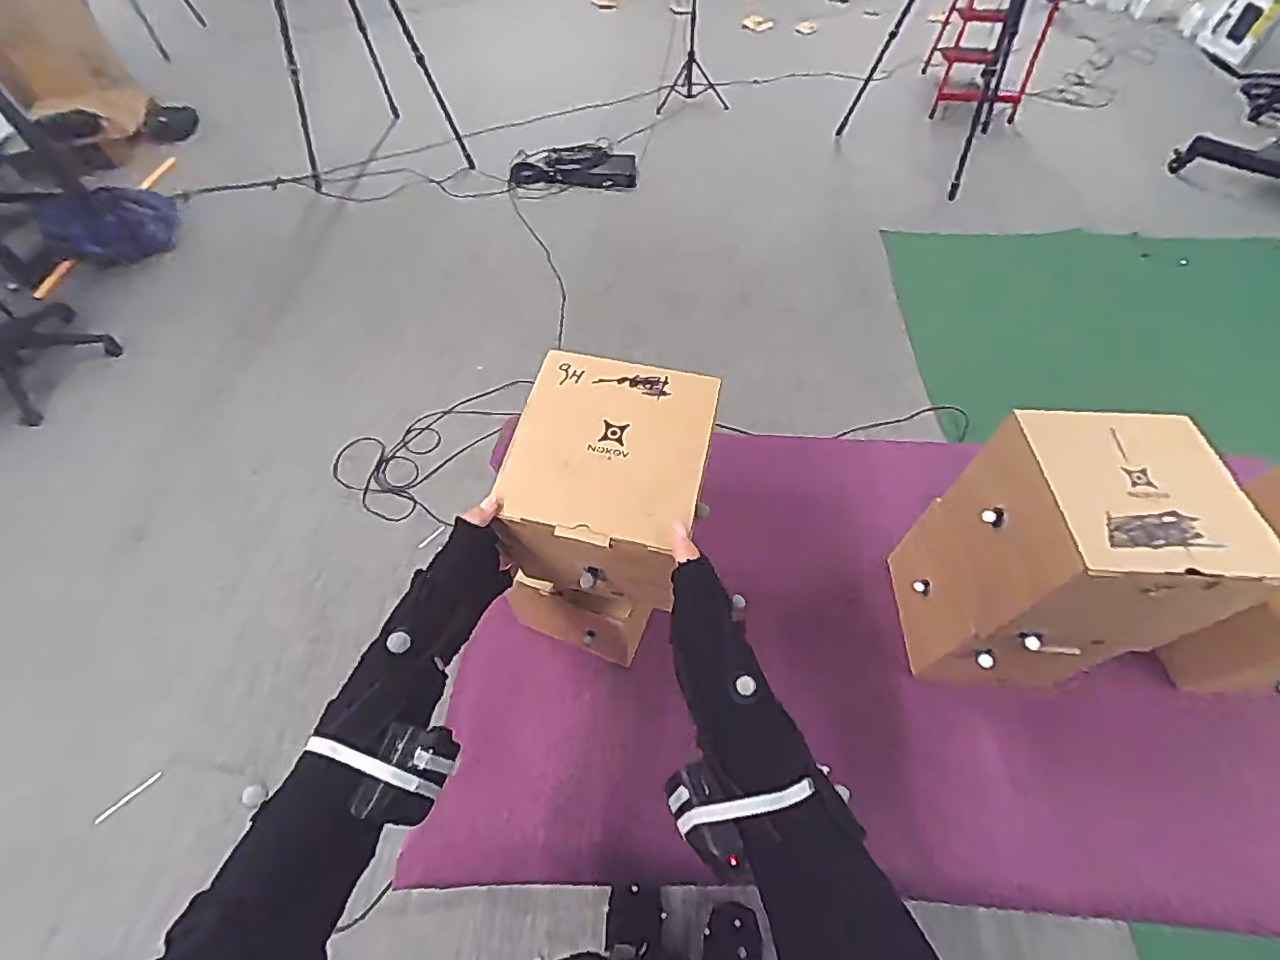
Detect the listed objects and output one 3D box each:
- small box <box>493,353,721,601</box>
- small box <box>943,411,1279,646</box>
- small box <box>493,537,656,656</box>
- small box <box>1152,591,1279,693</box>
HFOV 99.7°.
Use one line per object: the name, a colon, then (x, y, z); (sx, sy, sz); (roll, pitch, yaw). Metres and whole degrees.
small box: (-0.019, 0.006, 0.527); (0.168, 0.176, 0.179); (9, 63, 6)
small box: (0.436, 0.053, 0.535); (0.168, 0.176, 0.179); (2, 54, 2)
small box: (-0.056, 0.100, 0.688); (0.168, 0.176, 0.179); (19, 58, 12)
small box: (0.759, 0.150, 0.665); (0.168, 0.176, 0.179); (-1, 56, 1)
